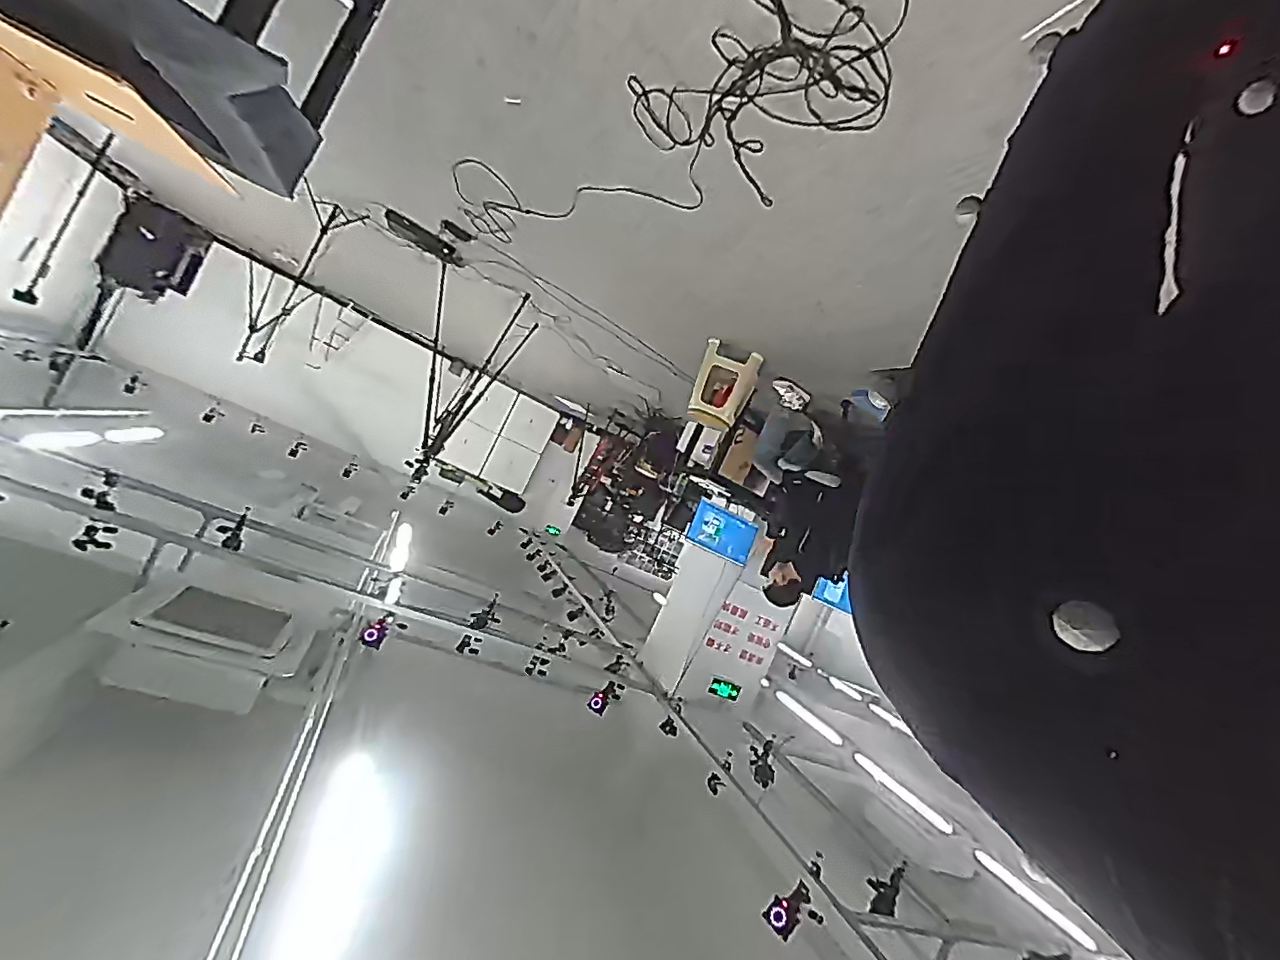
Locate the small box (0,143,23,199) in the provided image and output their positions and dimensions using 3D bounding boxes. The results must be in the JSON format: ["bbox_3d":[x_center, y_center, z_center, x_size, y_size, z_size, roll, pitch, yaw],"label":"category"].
[{"bbox_3d":[-1.475,-0.685,1.123,0.179,0.176,0.168,26,180,-13],"label":"small box"}]

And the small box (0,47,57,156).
[{"bbox_3d":[-1.399,-0.831,1.121,0.179,0.176,0.168,26,180,-13],"label":"small box"}]
